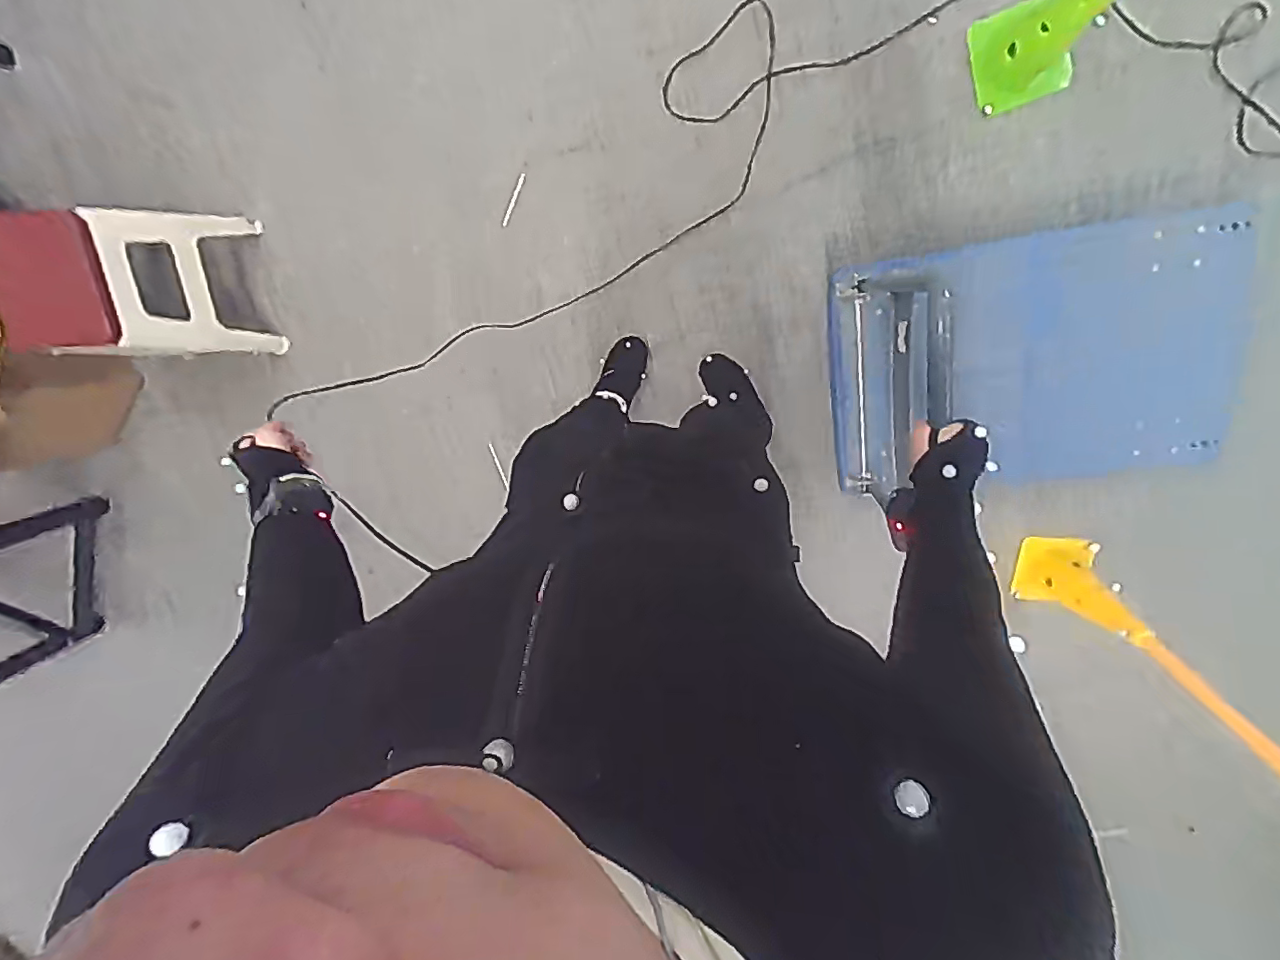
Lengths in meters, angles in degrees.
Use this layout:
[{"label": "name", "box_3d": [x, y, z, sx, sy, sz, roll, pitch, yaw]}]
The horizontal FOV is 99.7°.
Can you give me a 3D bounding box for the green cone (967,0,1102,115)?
[{"label": "green cone", "box_3d": [0.842, -0.921, 1.063, 0.200, 0.368, 0.202, -18, 103, 12]}]
